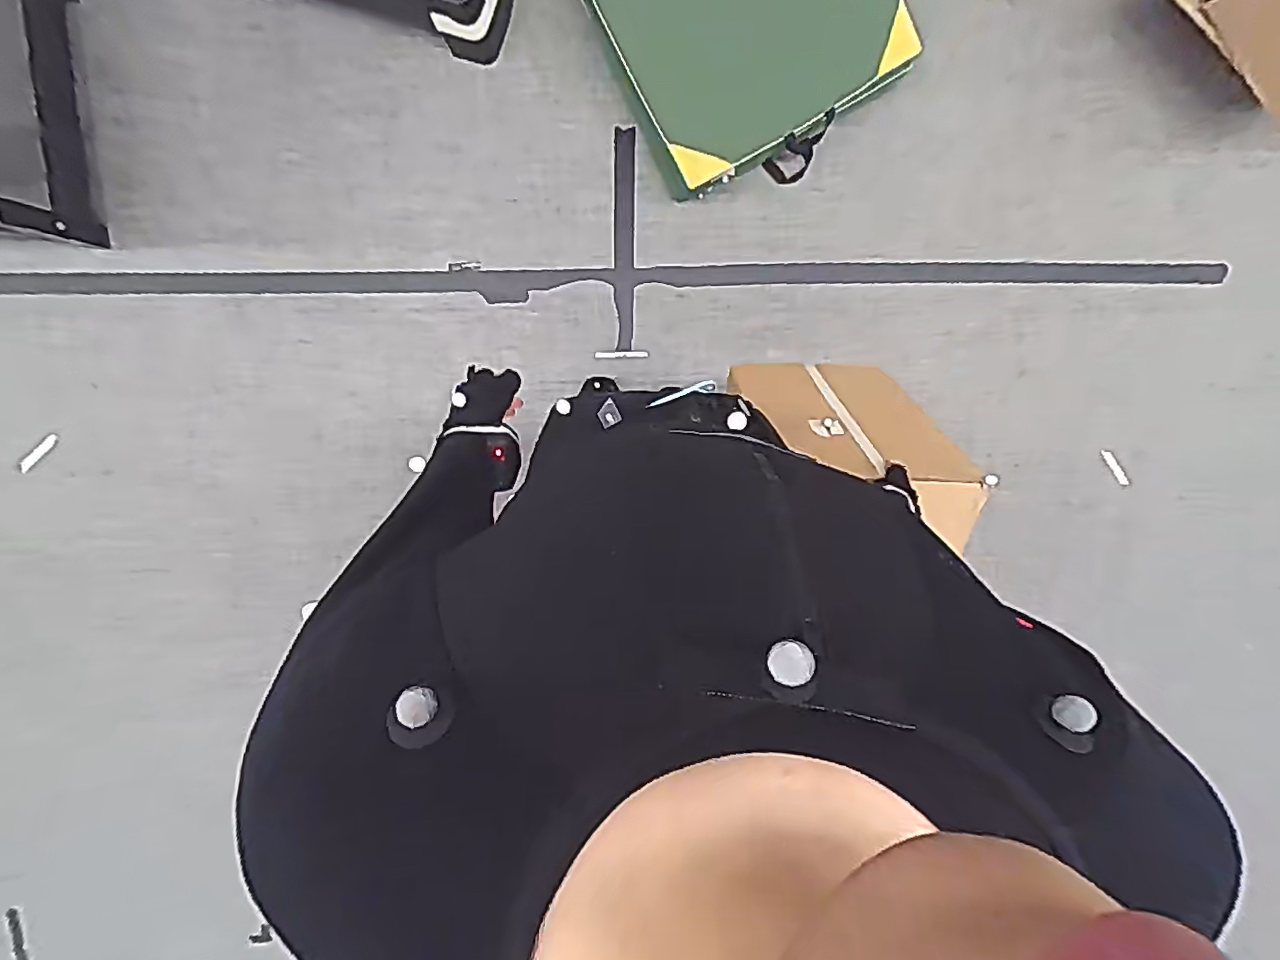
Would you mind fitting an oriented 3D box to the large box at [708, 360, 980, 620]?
[{"bbox_3d":[0.323,0.006,1.013,0.320,0.408,0.320,1,127,-2],"label":"large box"}]
